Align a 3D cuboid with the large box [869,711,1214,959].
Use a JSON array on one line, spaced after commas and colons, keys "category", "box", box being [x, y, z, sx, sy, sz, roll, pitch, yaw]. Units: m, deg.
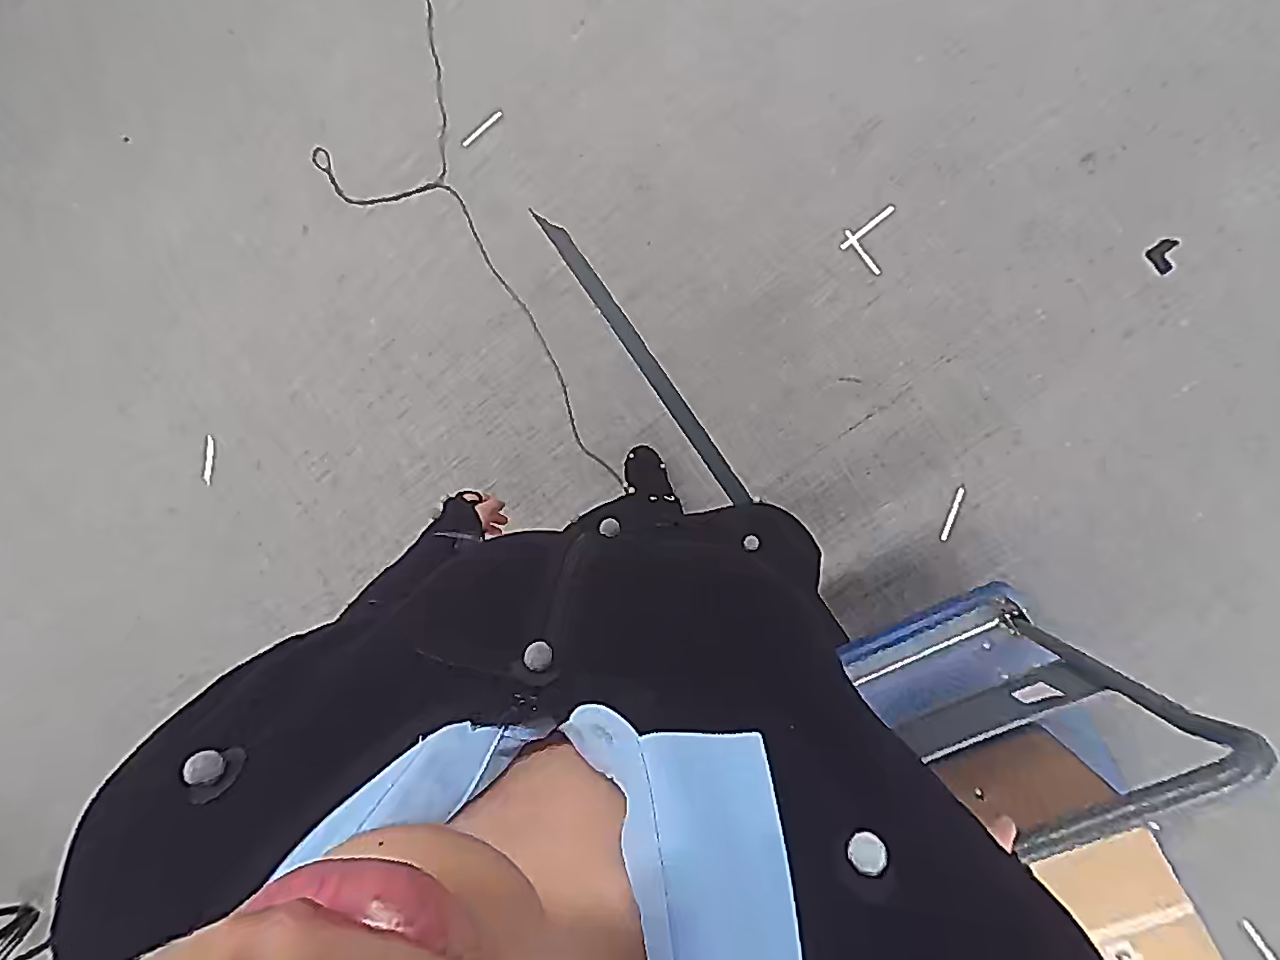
[{"category": "large box", "box": [0.757, 0.747, 1.100, 0.408, 0.320, 0.320, -28, 89, 9]}]
